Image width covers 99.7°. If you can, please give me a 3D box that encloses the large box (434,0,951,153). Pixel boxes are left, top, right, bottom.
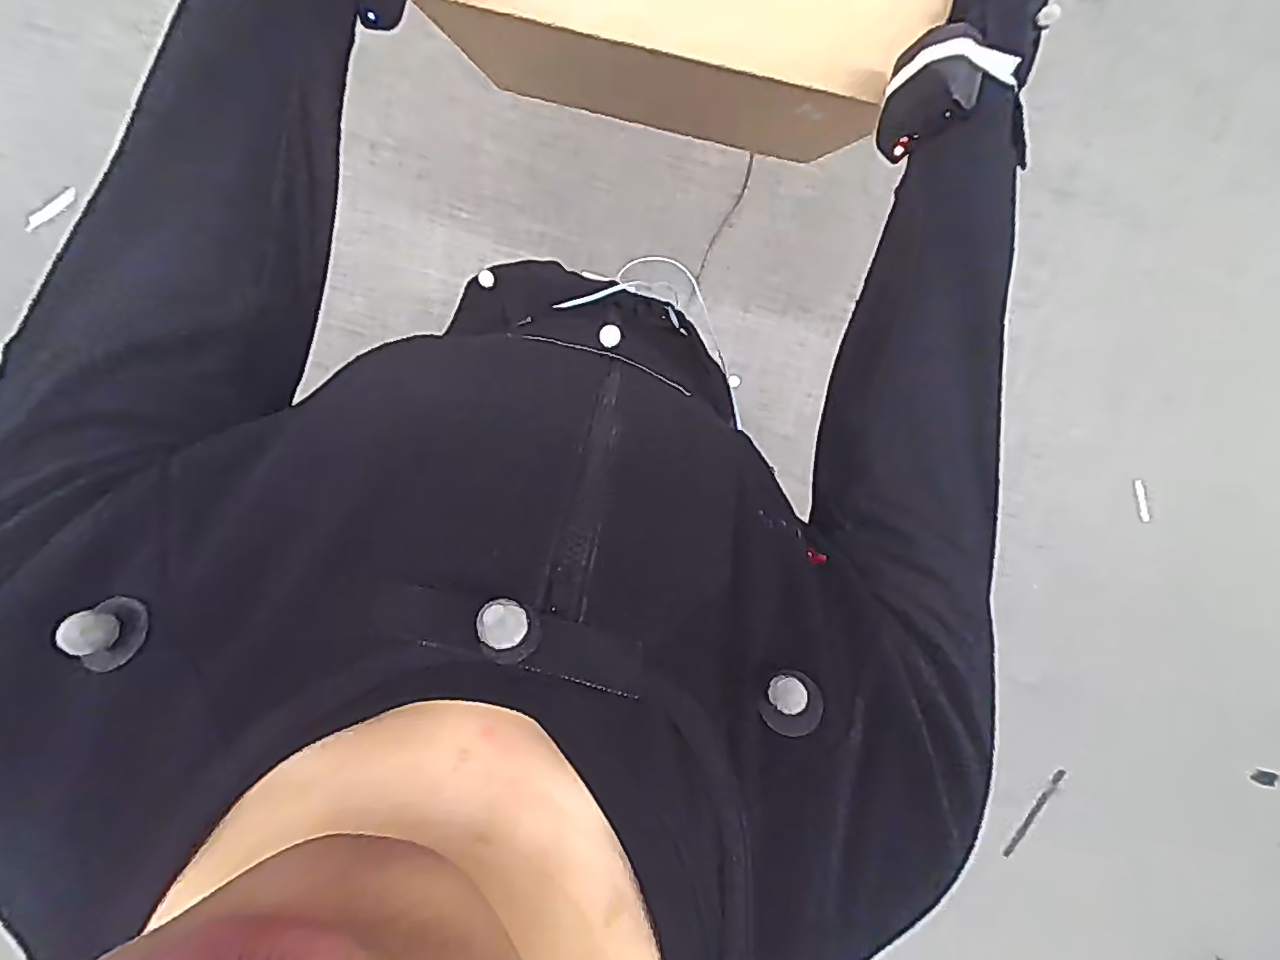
[{"bbox_3d":[0.052,-0.527,0.484,0.408,0.320,0.320,11,115,-5],"label":"large box"}]
